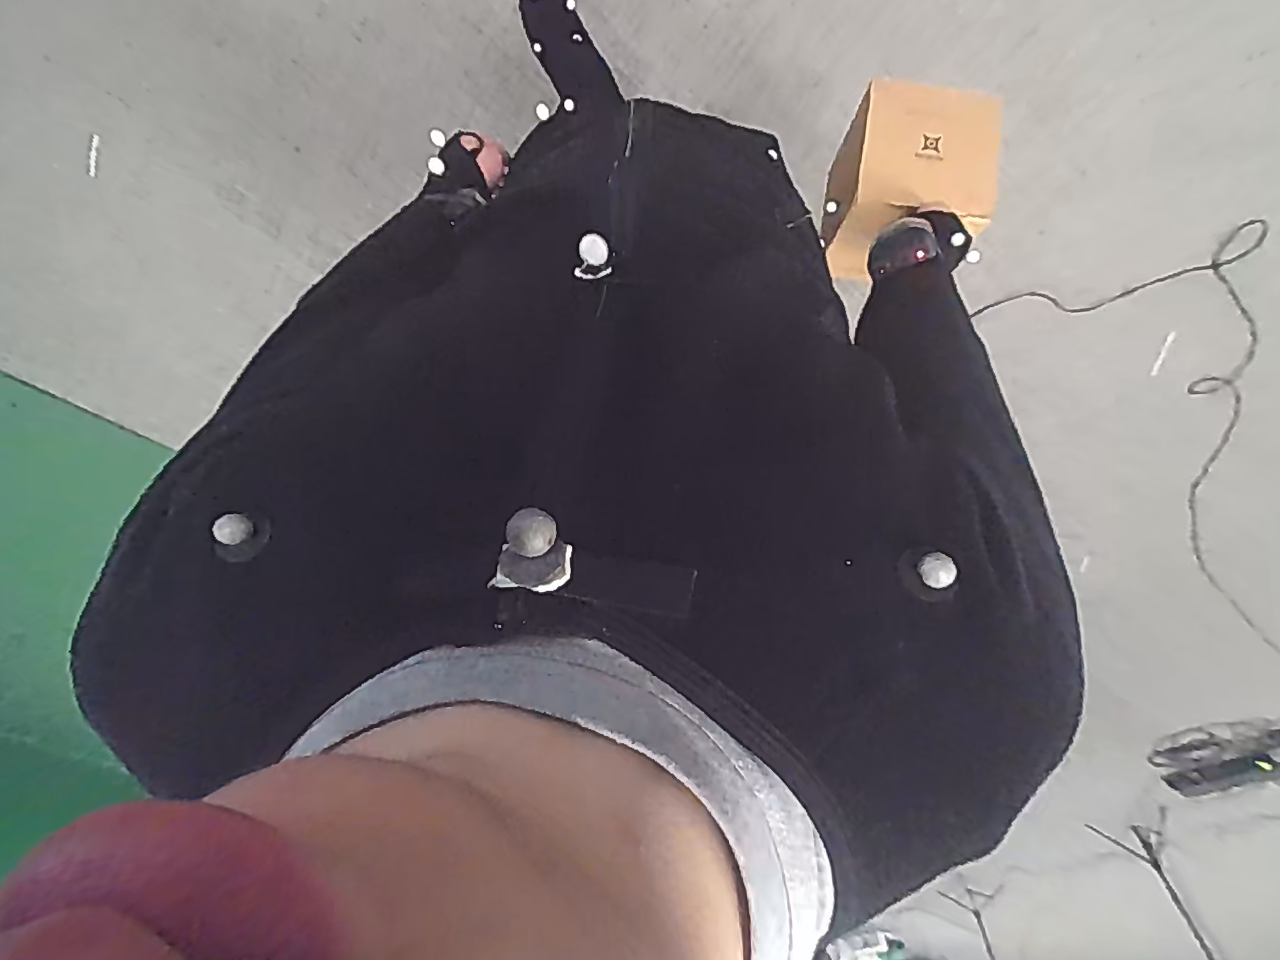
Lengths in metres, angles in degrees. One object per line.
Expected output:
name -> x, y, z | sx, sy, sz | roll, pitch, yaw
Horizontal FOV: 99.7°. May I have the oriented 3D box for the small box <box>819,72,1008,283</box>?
small box -> 0.355, -0.394, 0.733 | 0.168, 0.179, 0.176 | 11, 172, 2
